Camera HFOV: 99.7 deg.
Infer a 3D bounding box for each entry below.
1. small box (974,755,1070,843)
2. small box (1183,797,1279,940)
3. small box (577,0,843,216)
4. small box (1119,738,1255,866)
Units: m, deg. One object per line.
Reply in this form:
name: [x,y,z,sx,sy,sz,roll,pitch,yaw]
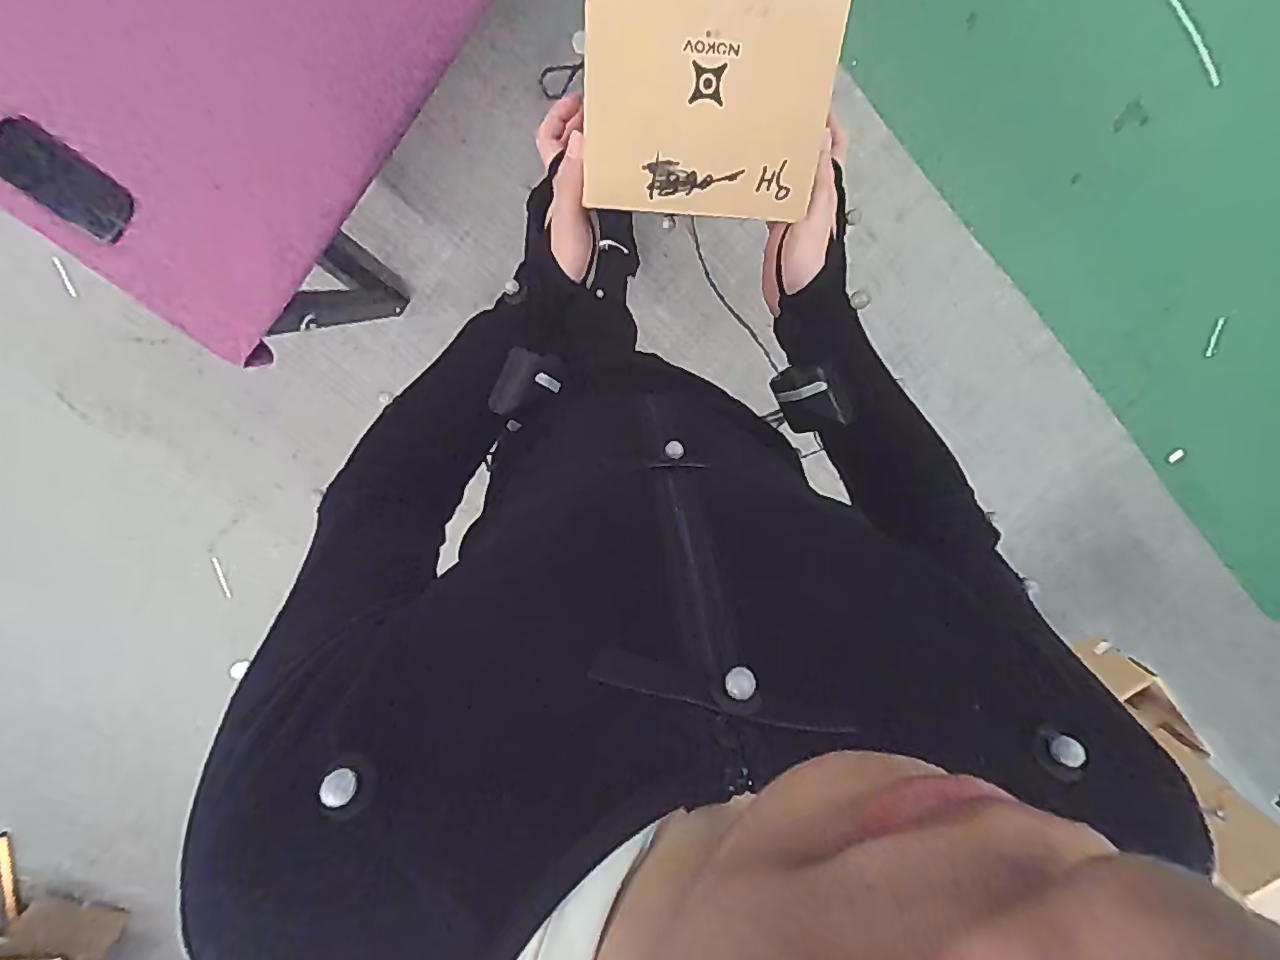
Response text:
small box: [1.083,0.909,1.501,0.168,0.176,0.179,-42,105,12]
small box: [1.315,0.812,1.129,0.168,0.176,0.179,-41,106,10]
small box: [0.041,-0.311,0.417,0.168,0.176,0.179,3,120,-2]
small box: [1.309,0.757,1.282,0.168,0.176,0.179,-40,106,10]
